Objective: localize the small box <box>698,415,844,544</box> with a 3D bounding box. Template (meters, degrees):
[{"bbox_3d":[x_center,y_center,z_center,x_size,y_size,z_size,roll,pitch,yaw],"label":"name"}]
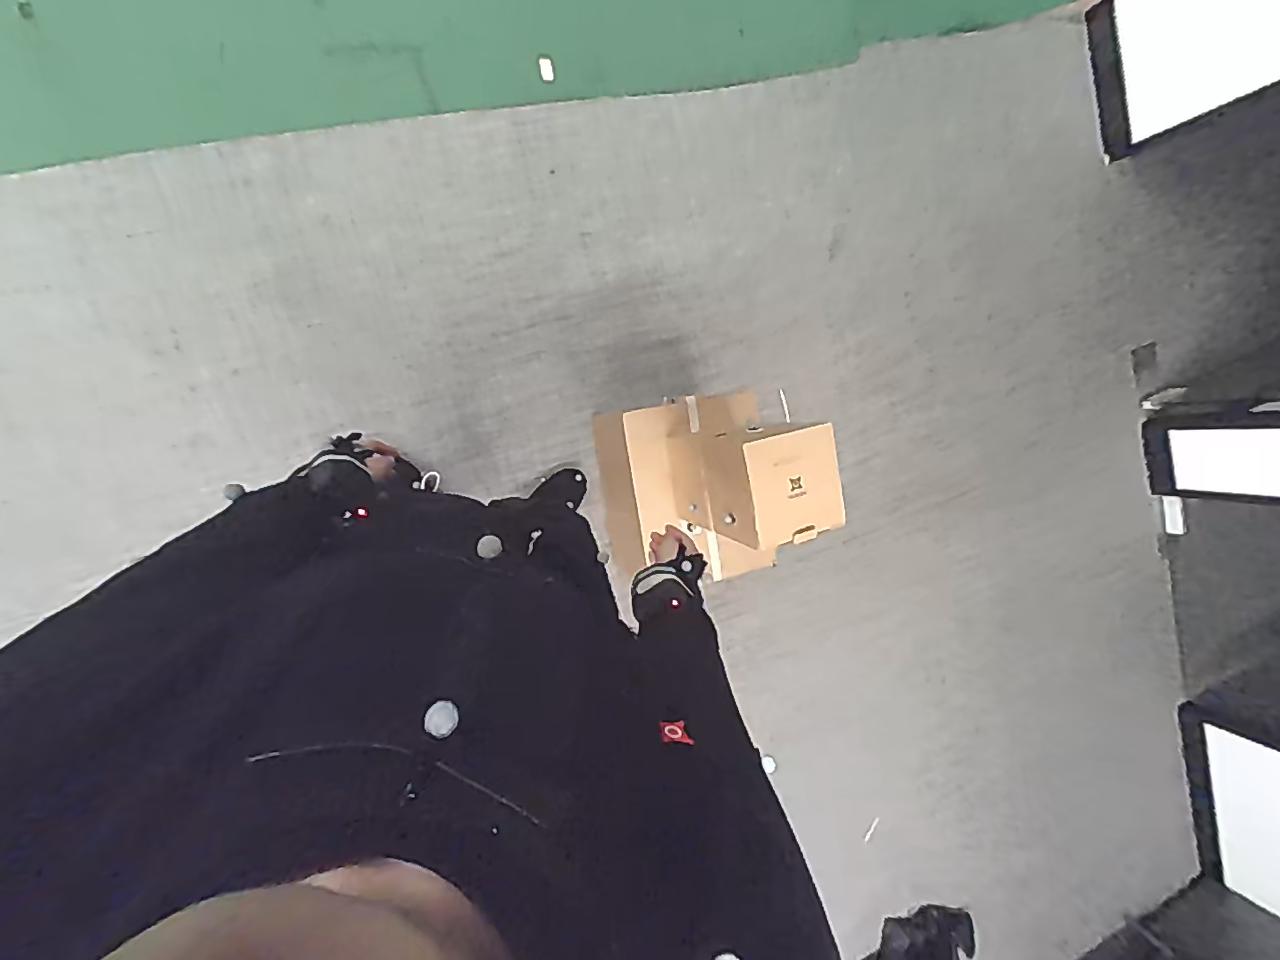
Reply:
[{"bbox_3d":[0.217,-0.010,0.922,0.168,0.176,0.179,-15,99,-17],"label":"small box"}]

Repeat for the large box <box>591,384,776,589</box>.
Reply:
[{"bbox_3d":[0.092,-0.003,1.313,0.320,0.320,0.408,-12,100,-15],"label":"large box"}]
